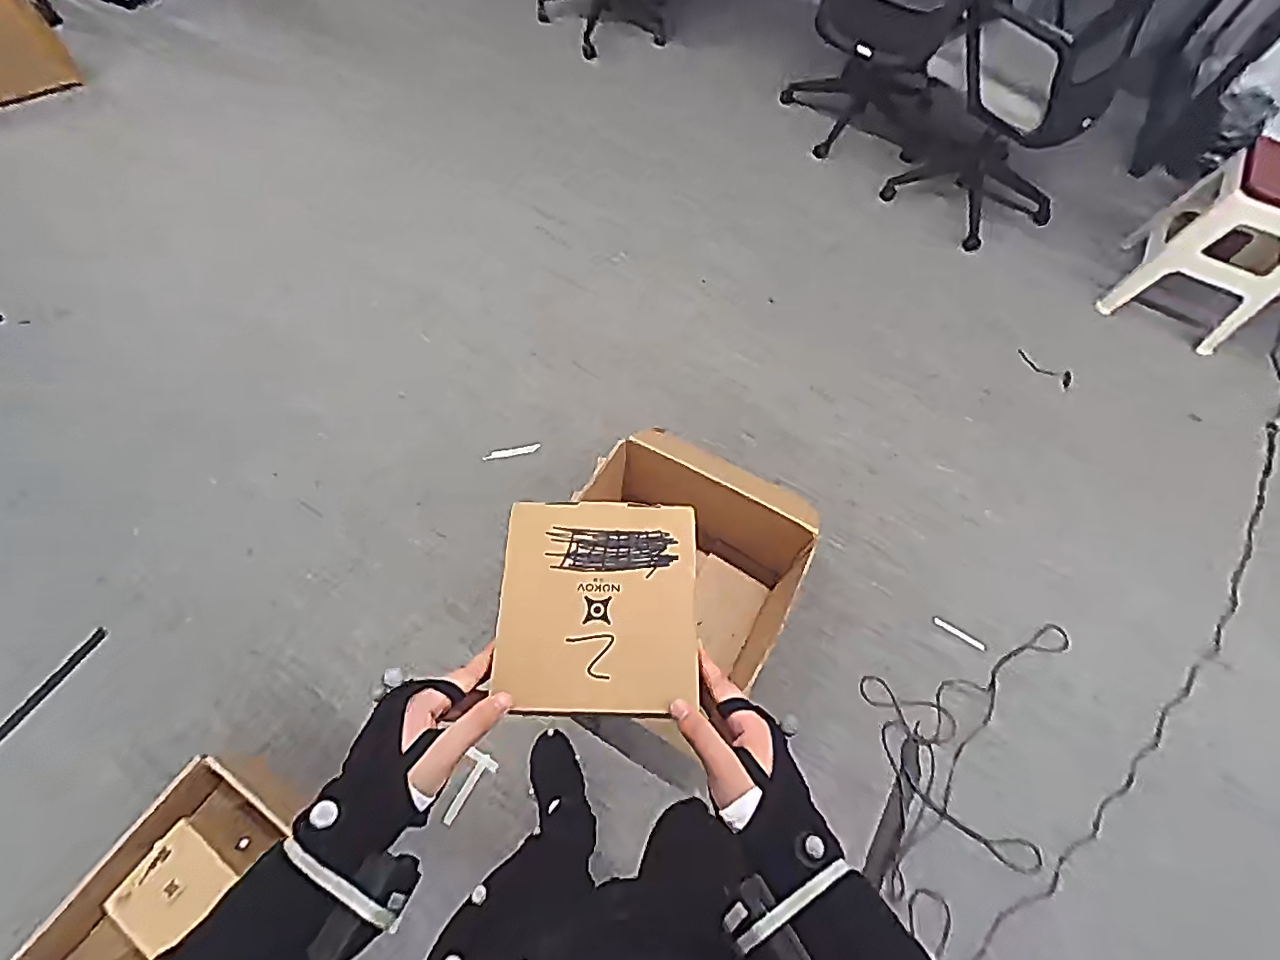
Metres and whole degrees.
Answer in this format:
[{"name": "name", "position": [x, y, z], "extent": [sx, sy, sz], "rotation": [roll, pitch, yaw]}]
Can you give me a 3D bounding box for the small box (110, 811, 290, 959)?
[{"name": "small box", "position": [-0.835, 0.779, 1.050], "extent": [0.179, 0.176, 0.168], "rotation": [34, 69, 11]}]
